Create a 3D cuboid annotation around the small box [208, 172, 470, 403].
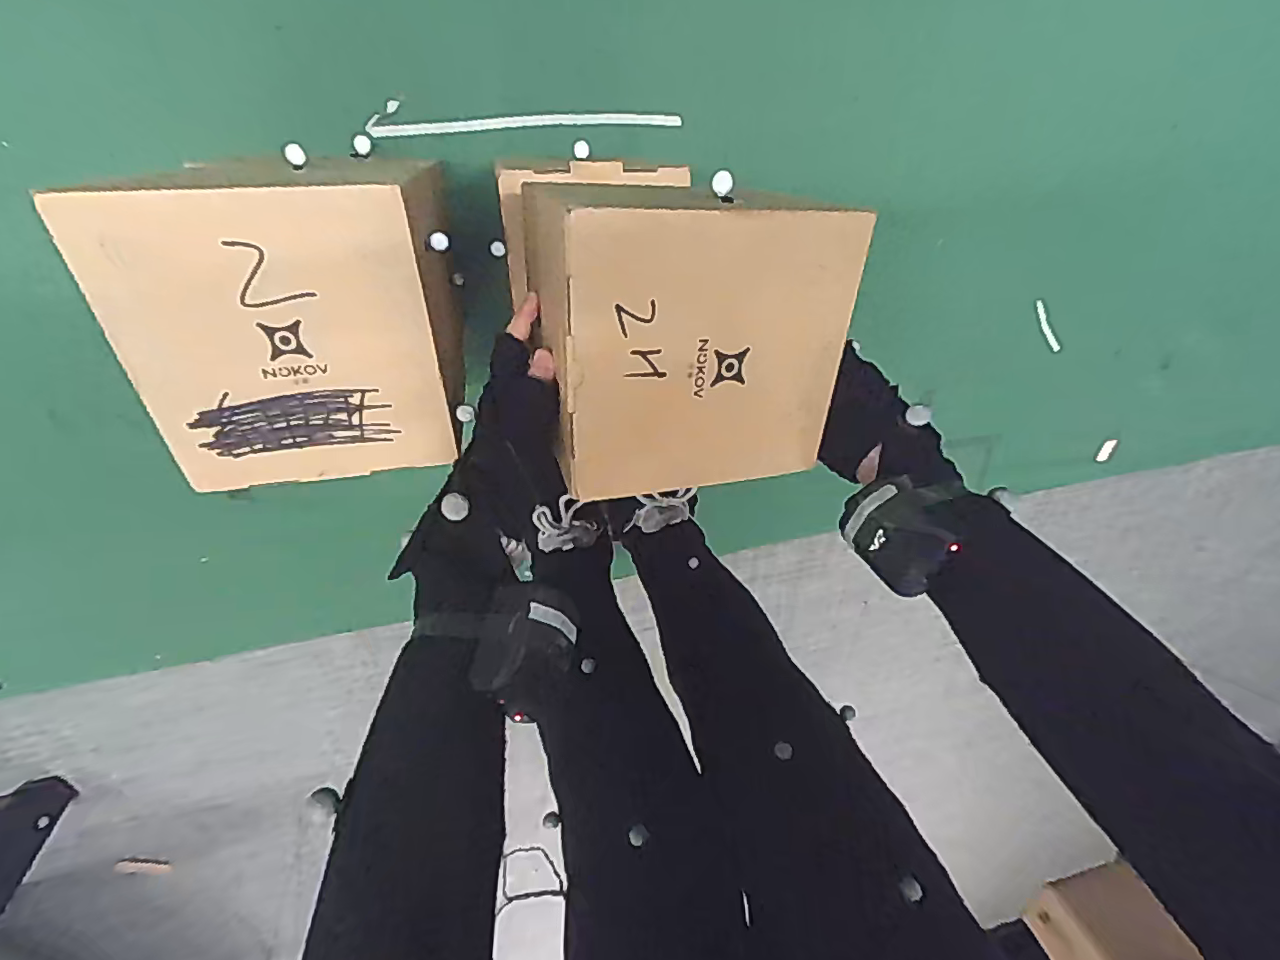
[{"bbox_3d":[-0.263,-0.192,0.527,0.168,0.176,0.179,-6,123,-12],"label":"small box"}]
